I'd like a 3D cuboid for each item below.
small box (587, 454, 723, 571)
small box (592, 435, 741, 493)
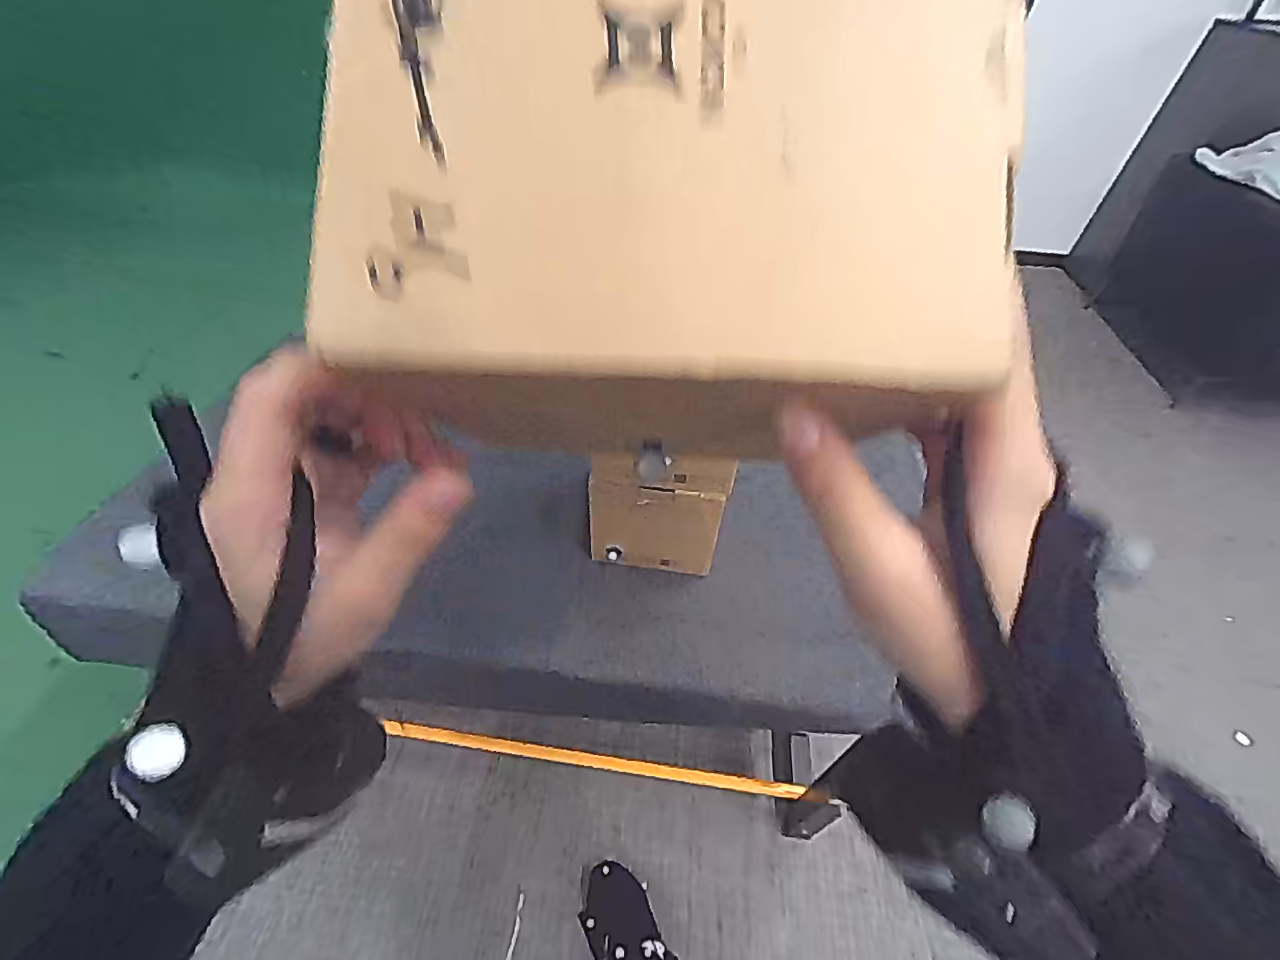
[{"bbox_3d":[0.027,0.004,0.750,0.168,0.176,0.179,8,46,3],"label":"small box"},{"bbox_3d":[0.036,-0.110,0.631,0.168,0.176,0.179,5,47,2],"label":"small box"}]
